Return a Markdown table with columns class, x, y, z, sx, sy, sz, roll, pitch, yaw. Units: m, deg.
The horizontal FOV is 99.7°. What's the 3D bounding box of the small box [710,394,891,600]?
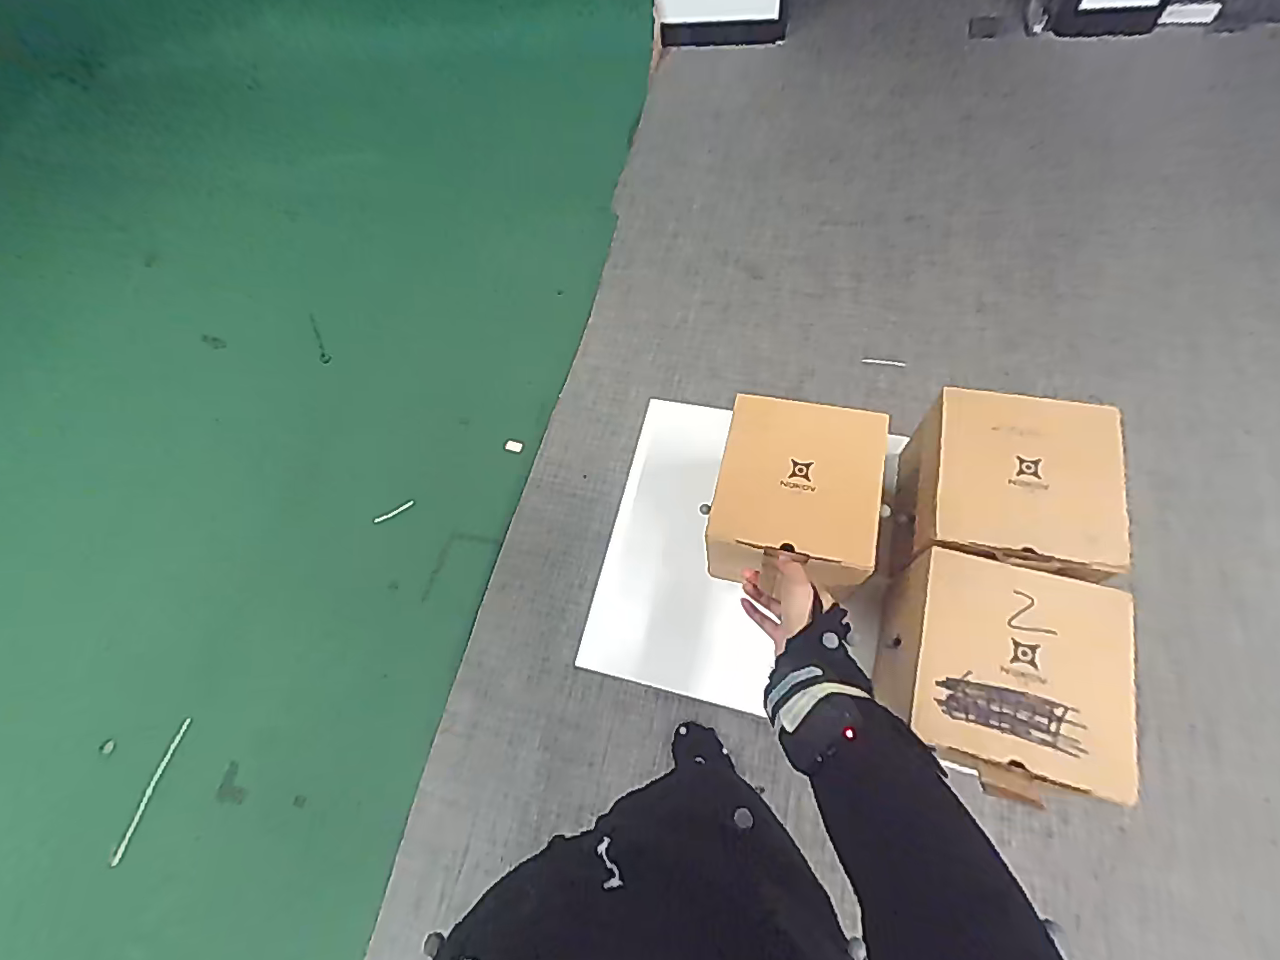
| class | x | y | z | sx | sy | sz | roll | pitch | yaw |
| --- | --- | --- | --- | --- | --- | --- | --- | --- | --- |
| small box | 0.180 | 0.026 | 0.636 | 0.168 | 0.176 | 0.179 | 10 | 69 | 13 |
